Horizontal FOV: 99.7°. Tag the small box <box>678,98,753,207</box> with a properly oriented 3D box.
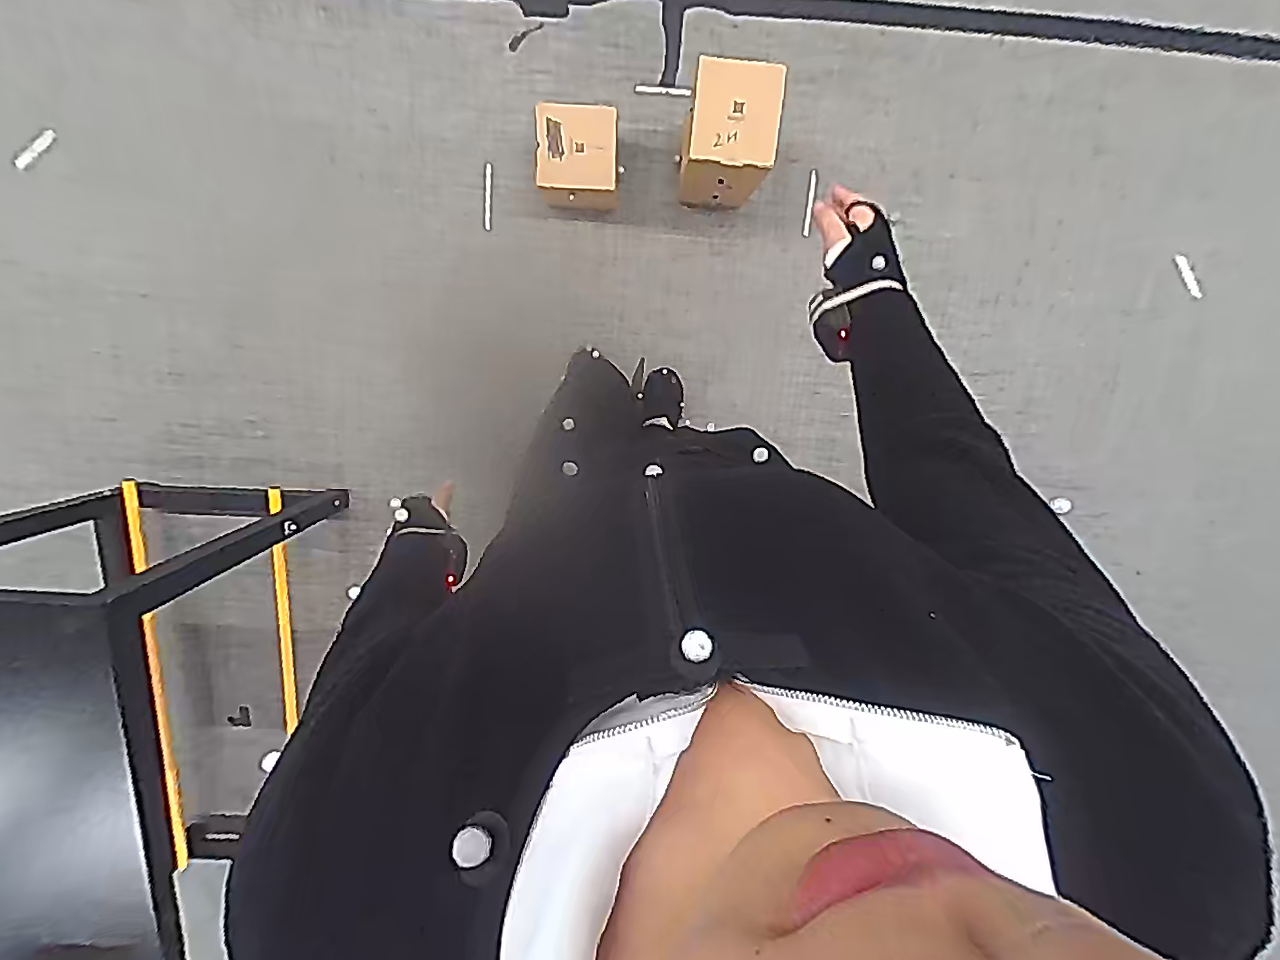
[{"bbox_3d":[0.179,-0.749,1.256,0.168,0.176,0.179,4,103,-1],"label":"small box"}]

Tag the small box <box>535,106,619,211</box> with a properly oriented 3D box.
[{"bbox_3d":[-0.142,-0.734,1.252,0.179,0.176,0.168,2,103,-2],"label":"small box"}]

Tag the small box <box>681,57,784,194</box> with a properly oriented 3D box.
[{"bbox_3d":[0.178,-0.706,1.095,0.168,0.176,0.179,5,103,-2],"label":"small box"}]
